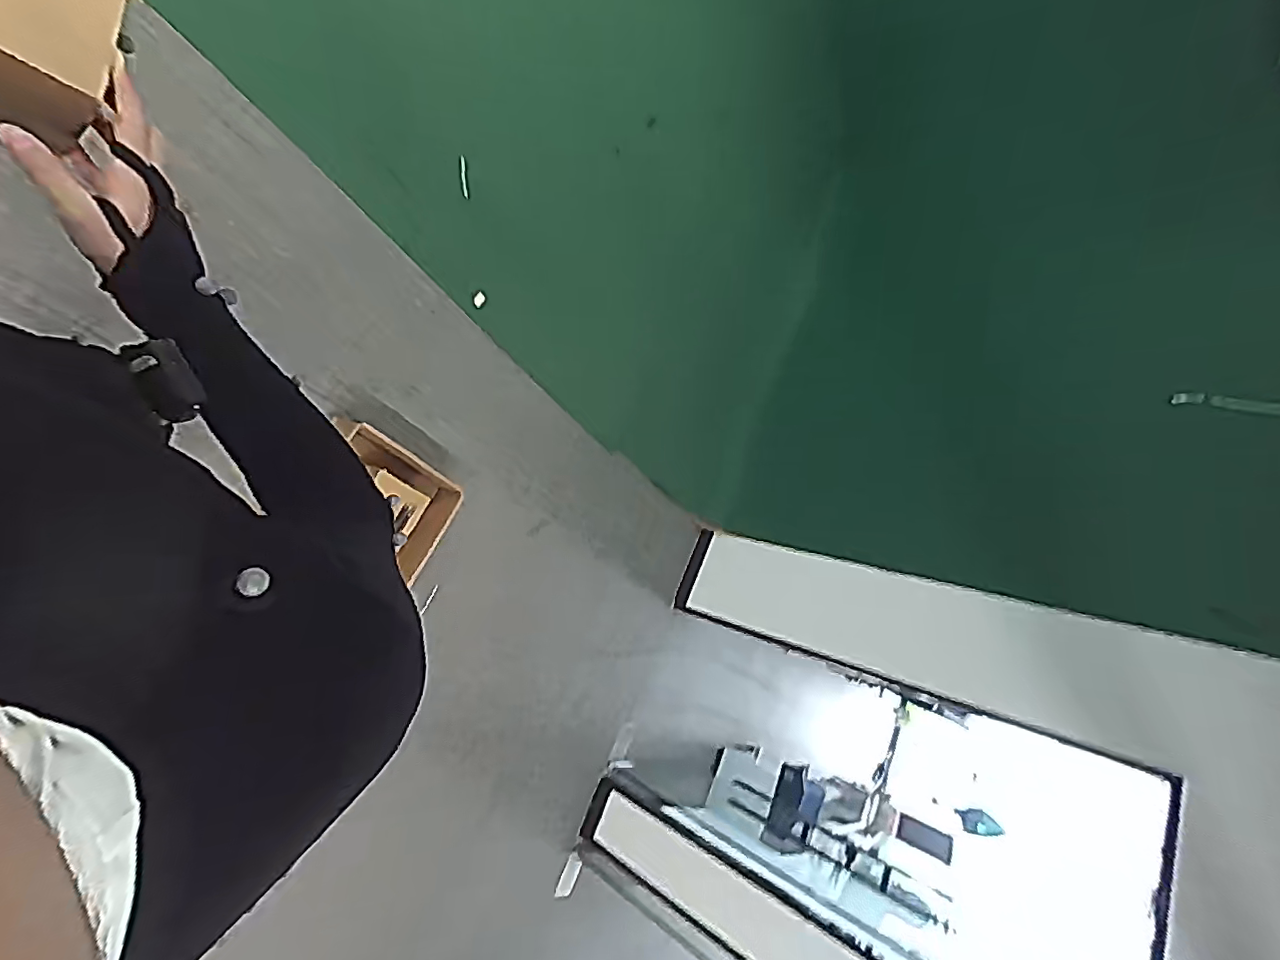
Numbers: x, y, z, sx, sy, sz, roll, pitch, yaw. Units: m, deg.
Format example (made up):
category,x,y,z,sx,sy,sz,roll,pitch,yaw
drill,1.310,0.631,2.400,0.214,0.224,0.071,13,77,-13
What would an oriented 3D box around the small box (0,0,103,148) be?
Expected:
category,x,y,z,sx,sy,sz,roll,pitch,yaw
small box,-0.502,-0.377,0.377,0.168,0.176,0.179,14,80,-55
